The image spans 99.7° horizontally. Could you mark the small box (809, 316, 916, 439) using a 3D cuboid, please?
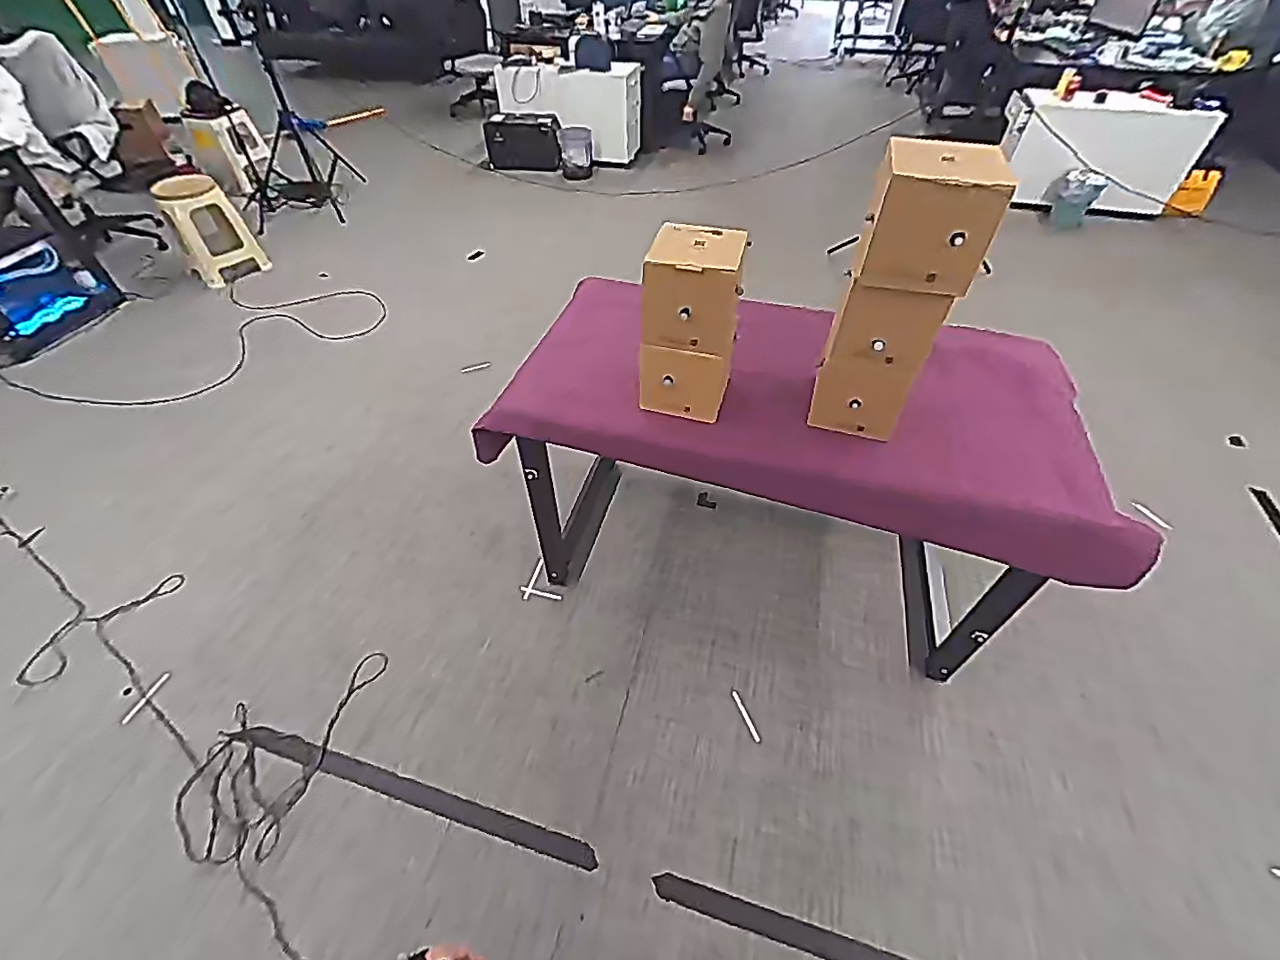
[{"bbox_3d":[0.455,-0.210,1.116,0.168,0.176,0.179,15,49,12],"label":"small box"}]

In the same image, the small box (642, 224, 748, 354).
[{"bbox_3d":[0.104,-0.364,1.035,0.168,0.176,0.179,11,48,9],"label":"small box"}]

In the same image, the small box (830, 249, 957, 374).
[{"bbox_3d":[0.459,-0.323,0.996,0.168,0.176,0.179,14,49,13],"label":"small box"}]

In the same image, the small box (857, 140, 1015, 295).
[{"bbox_3d":[0.455,-0.416,0.862,0.168,0.176,0.179,12,48,10],"label":"small box"}]

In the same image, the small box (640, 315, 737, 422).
[{"bbox_3d":[0.103,-0.247,1.150,0.168,0.176,0.179,13,48,11],"label":"small box"}]
